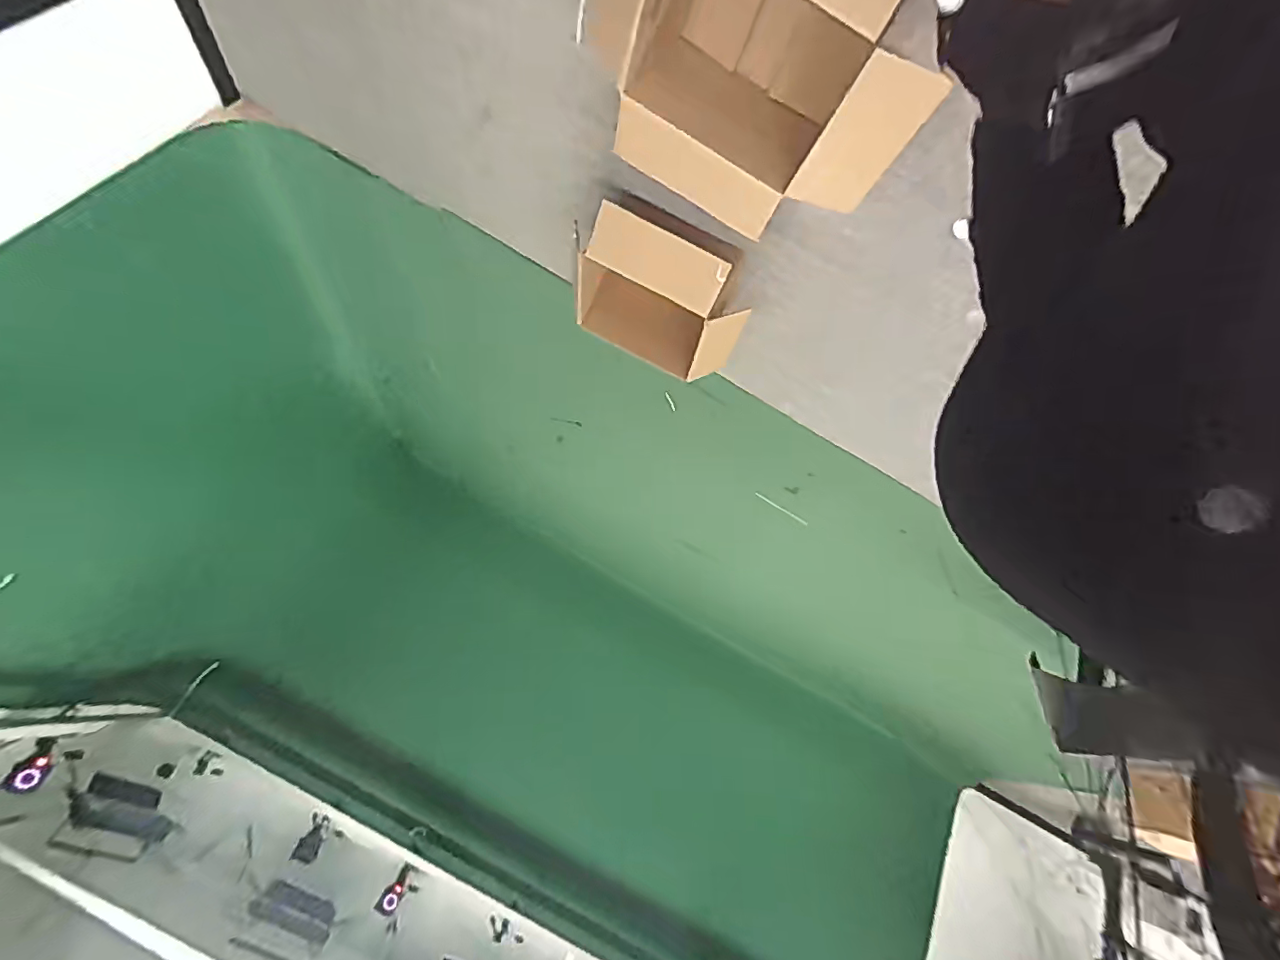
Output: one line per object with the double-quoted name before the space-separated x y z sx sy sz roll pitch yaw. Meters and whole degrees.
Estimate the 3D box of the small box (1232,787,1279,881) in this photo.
"small box" 1.546 0.844 1.260 0.168 0.176 0.179 29 154 1

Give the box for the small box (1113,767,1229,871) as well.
"small box" 1.464 0.928 1.494 0.179 0.176 0.168 32 153 -5
